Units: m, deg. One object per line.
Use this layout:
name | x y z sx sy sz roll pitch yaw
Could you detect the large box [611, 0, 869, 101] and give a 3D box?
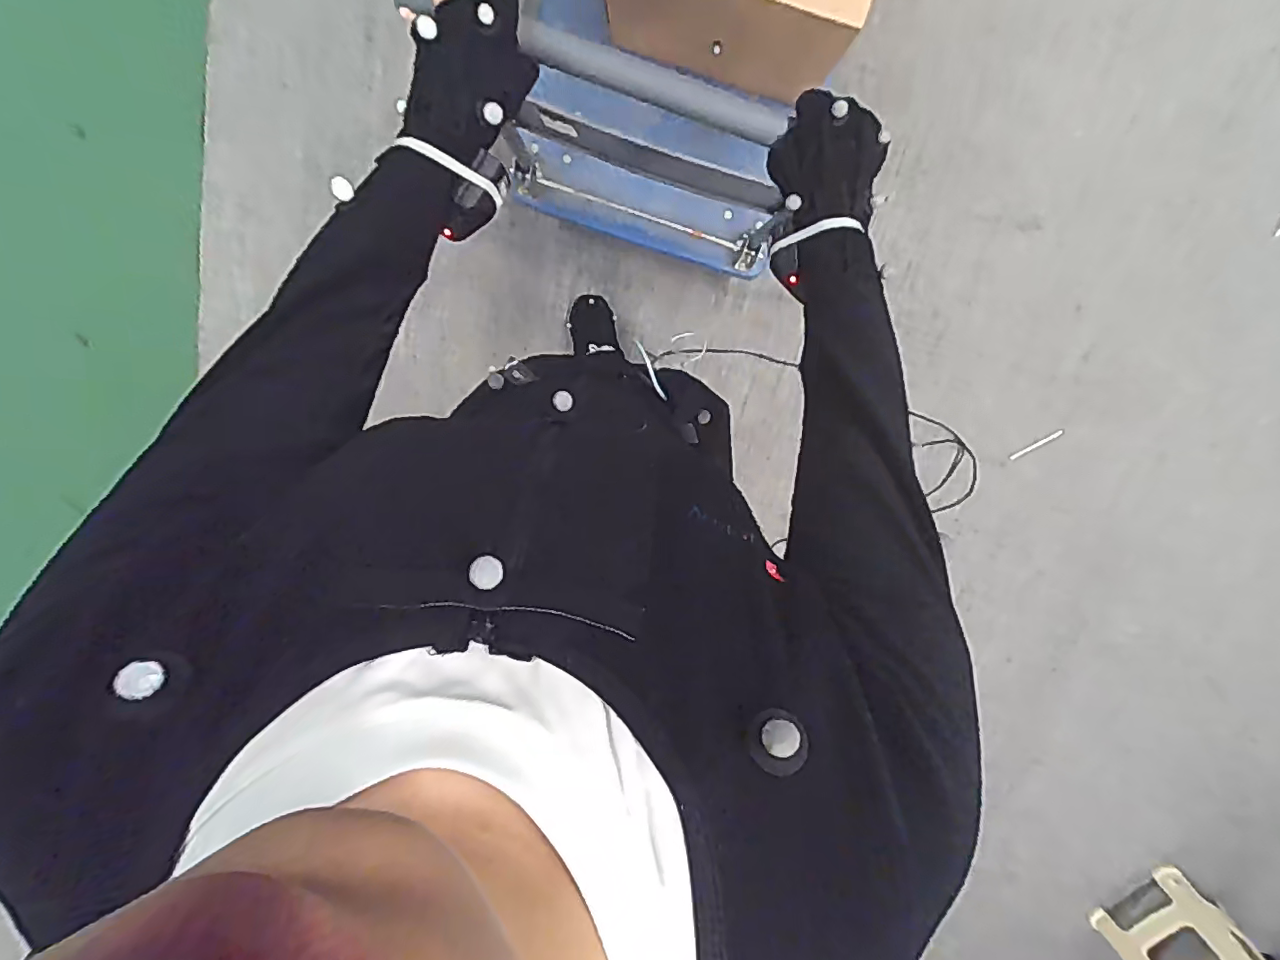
large box | 0.182 -0.901 0.890 0.408 0.320 0.320 16 106 -3
